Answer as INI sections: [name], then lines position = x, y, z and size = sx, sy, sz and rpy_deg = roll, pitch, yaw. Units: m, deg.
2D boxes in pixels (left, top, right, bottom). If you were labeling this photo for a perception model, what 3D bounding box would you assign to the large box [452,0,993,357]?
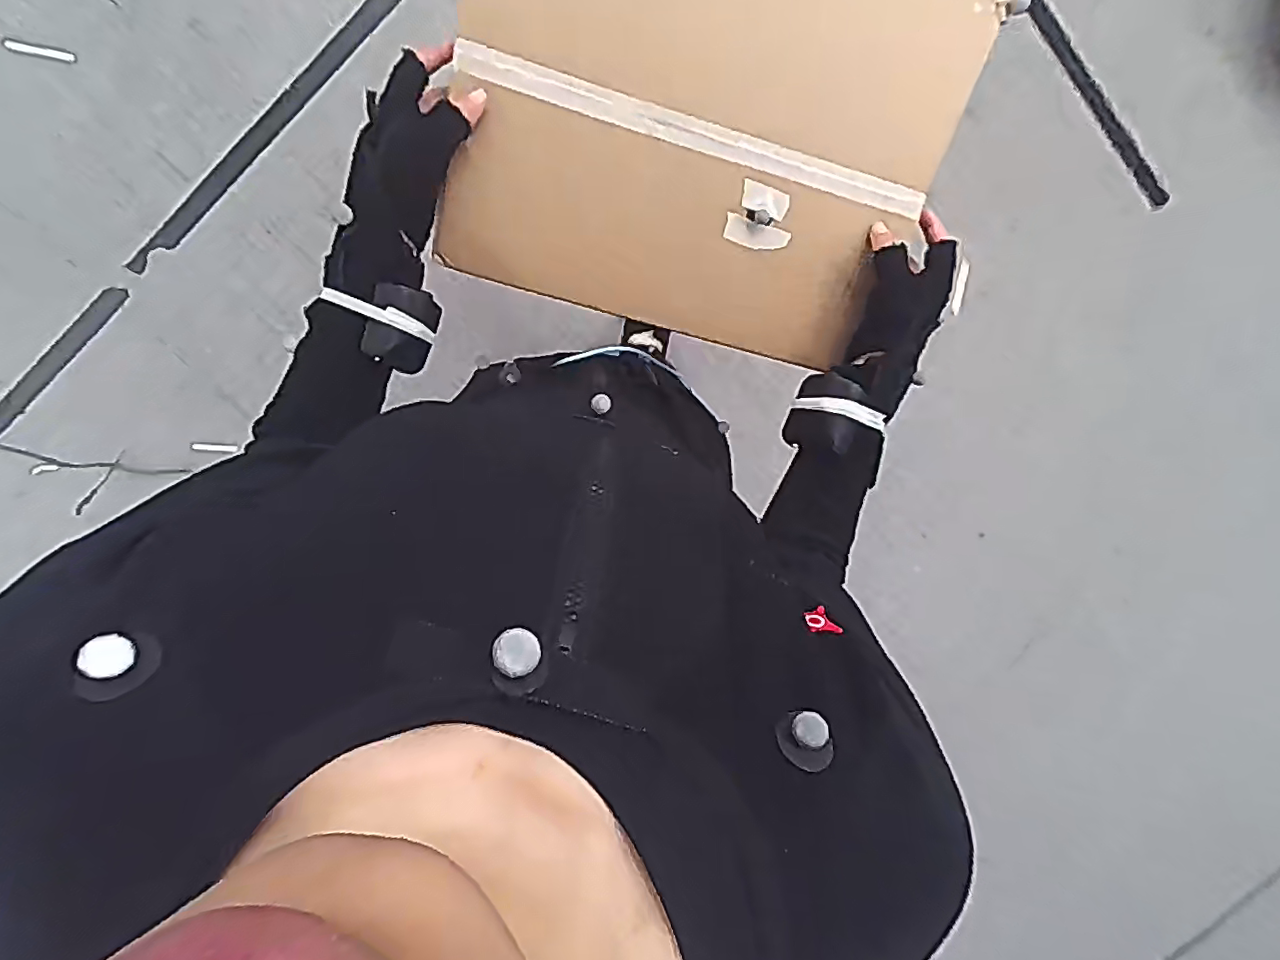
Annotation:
[large box]
position = 0.046, -0.360, 0.595
size = 0.408, 0.320, 0.320
rpy_deg = 13, 115, -10
